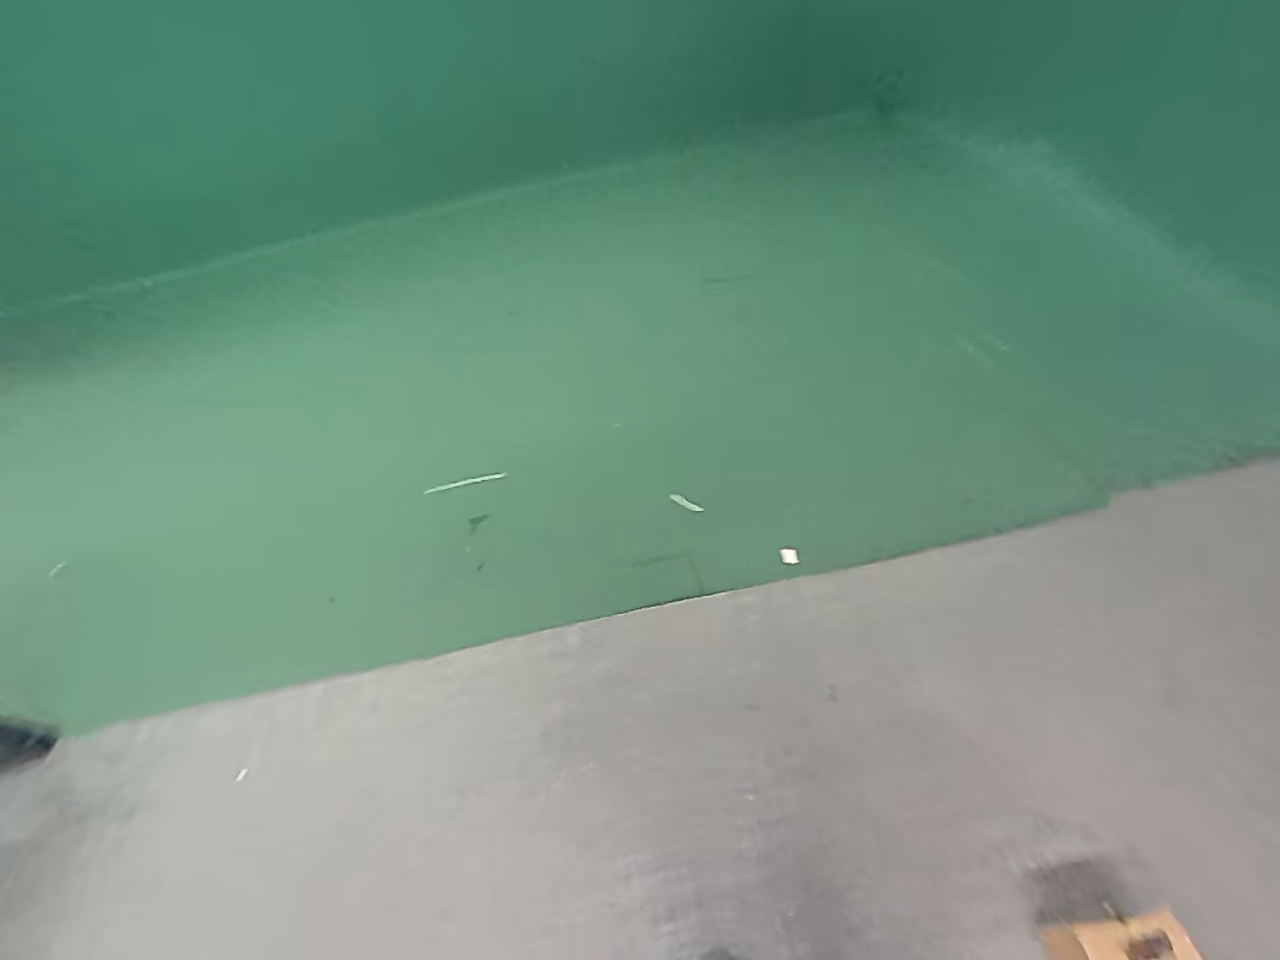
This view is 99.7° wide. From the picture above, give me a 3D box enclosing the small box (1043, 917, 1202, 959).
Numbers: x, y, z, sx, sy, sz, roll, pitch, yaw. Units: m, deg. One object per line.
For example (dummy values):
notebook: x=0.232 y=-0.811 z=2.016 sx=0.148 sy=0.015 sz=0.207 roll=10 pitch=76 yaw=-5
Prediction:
small box: x=0.821 y=0.845 z=0.894 sx=0.168 sy=0.176 sz=0.179 roll=-11 pitch=50 yaw=4
